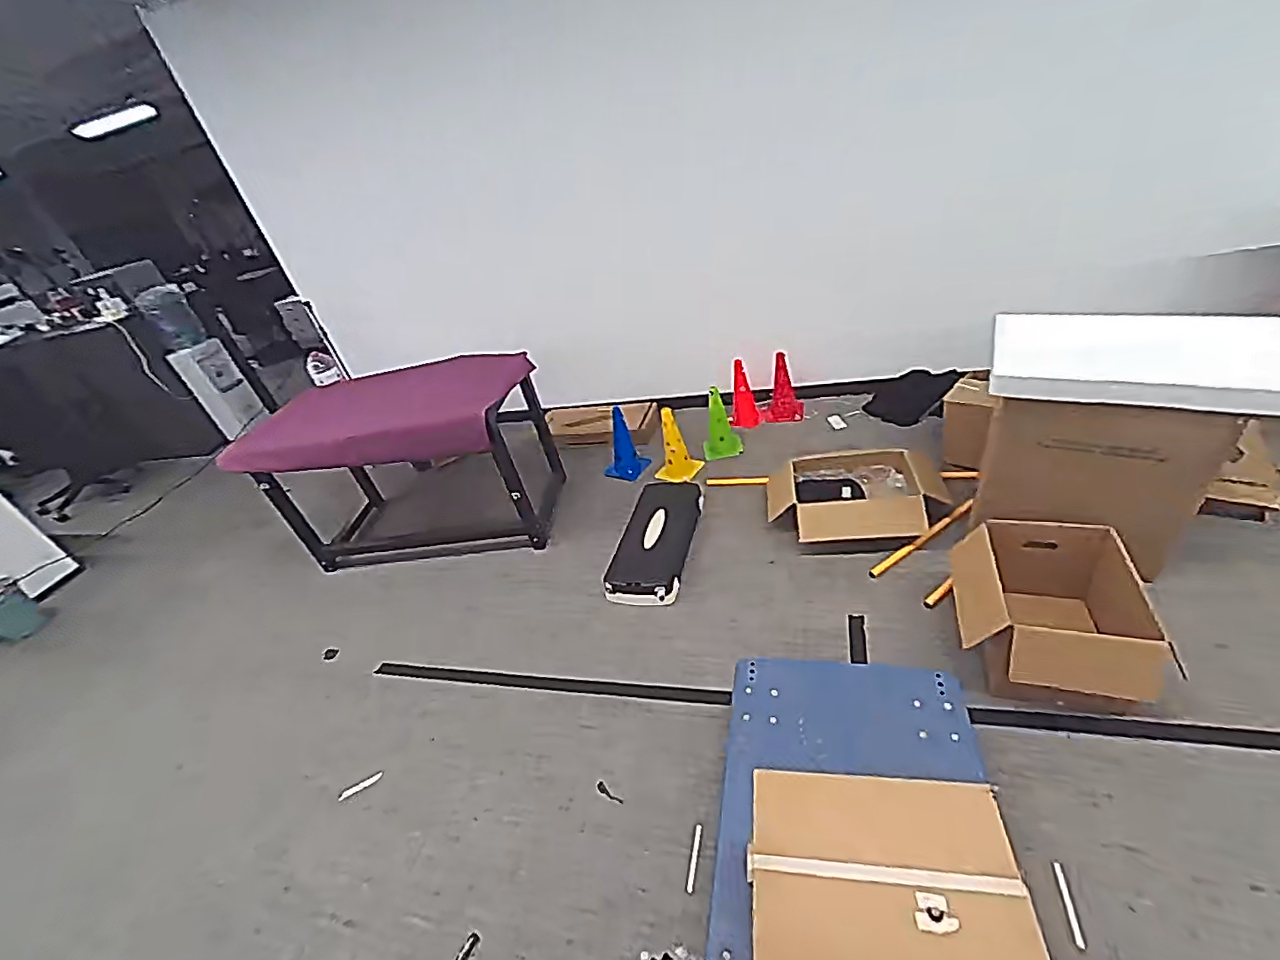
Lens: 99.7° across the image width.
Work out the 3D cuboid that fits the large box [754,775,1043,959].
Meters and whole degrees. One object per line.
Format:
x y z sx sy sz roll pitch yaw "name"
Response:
0.414 0.763 0.951 0.408 0.320 0.320 -3 35 14 "large box"
